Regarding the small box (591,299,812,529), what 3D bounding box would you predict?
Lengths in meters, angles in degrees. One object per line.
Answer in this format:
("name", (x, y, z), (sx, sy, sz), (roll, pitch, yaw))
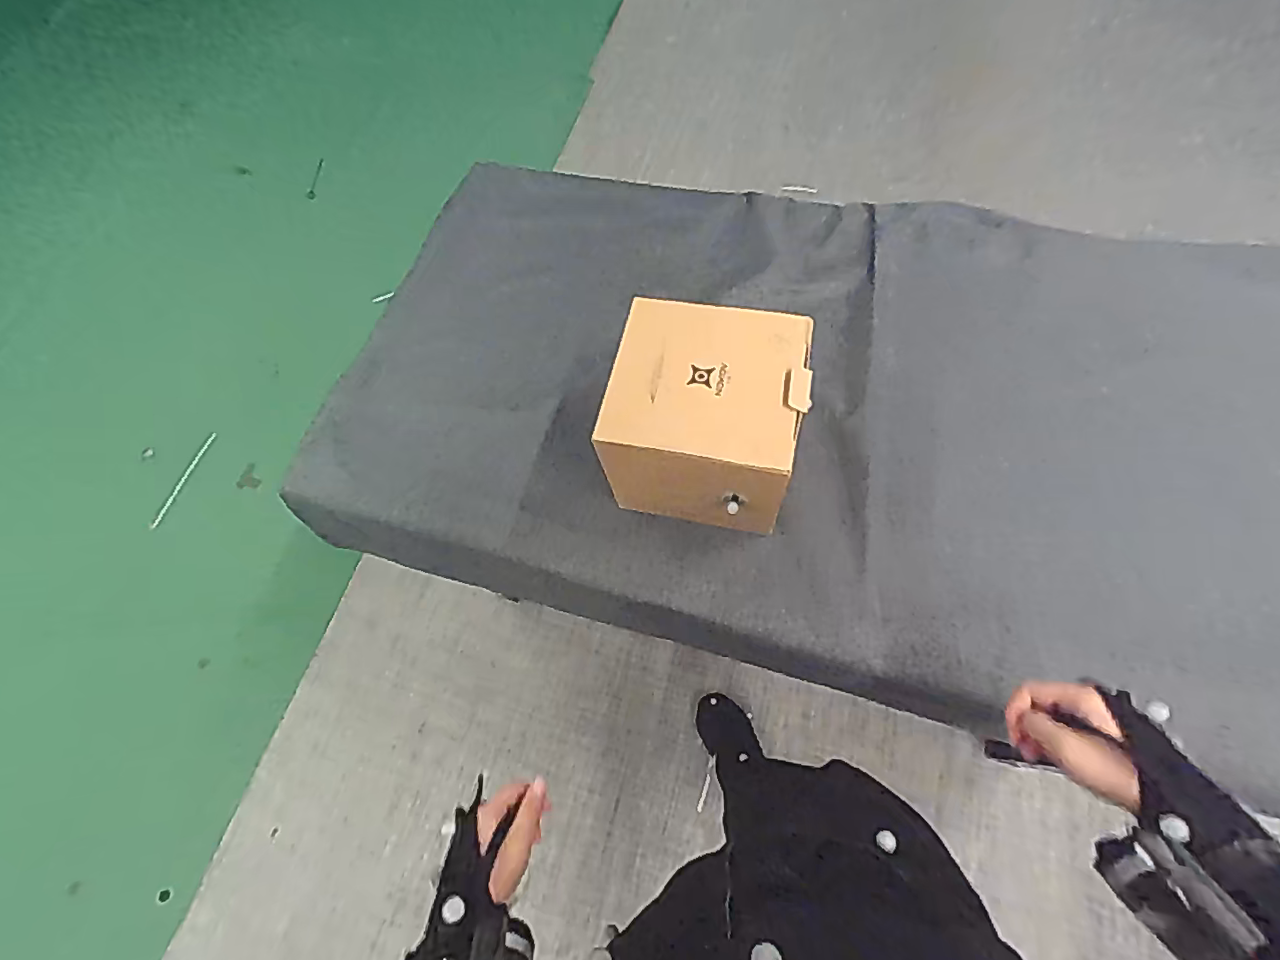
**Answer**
("small box", (0.067, -0.059, 0.561), (0.179, 0.176, 0.168), (9, 67, 12))
